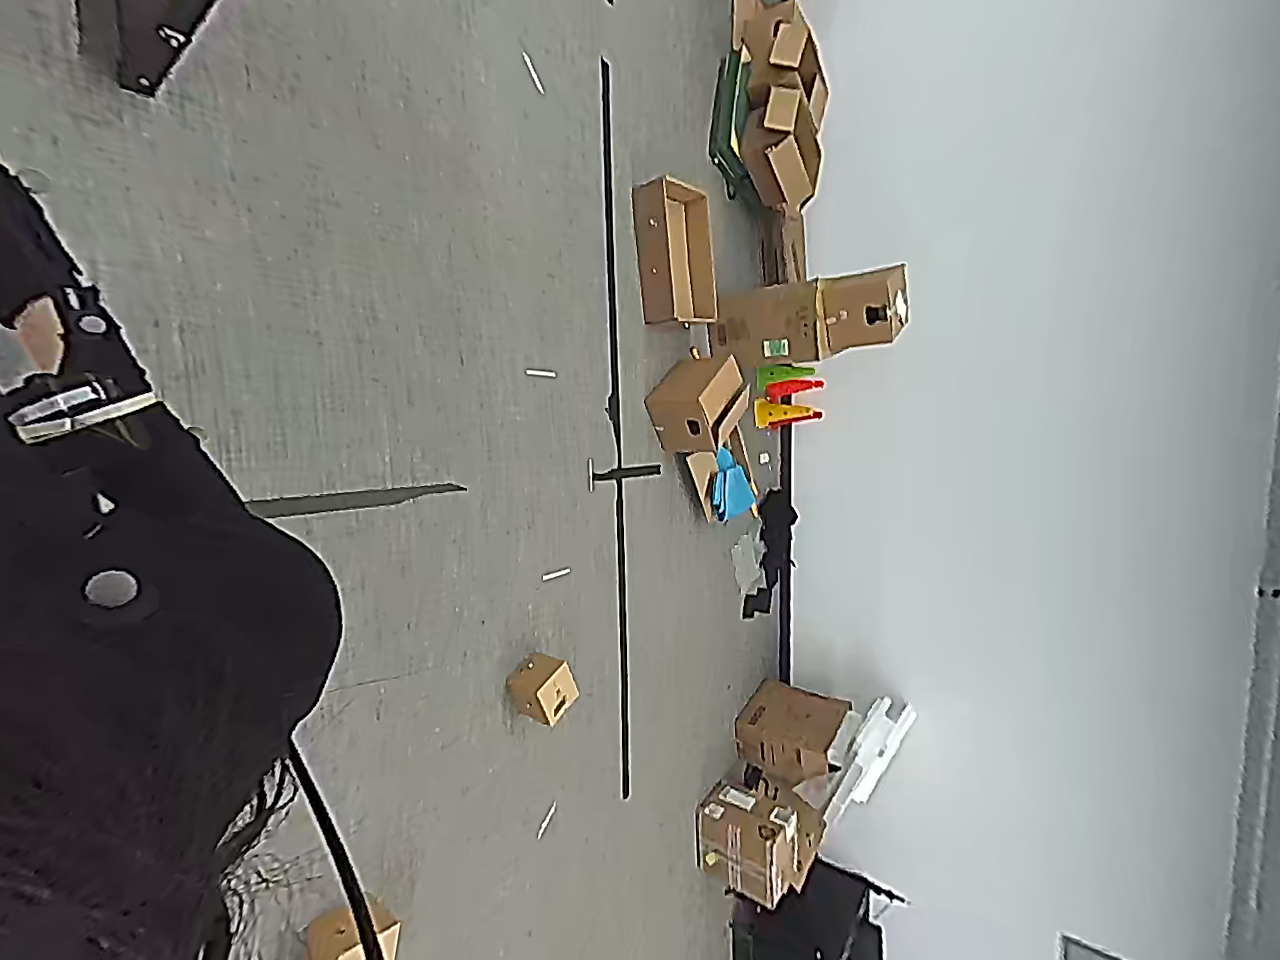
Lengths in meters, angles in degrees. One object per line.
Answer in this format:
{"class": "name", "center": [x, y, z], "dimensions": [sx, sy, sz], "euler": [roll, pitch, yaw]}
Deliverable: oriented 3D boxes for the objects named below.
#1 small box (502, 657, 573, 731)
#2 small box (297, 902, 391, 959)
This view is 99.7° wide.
{"class": "small box", "center": [-0.385, 0.793, 2.025], "dimensions": [0.168, 0.176, 0.179], "euler": [-40, 123, -45]}
{"class": "small box", "center": [-0.819, 1.314, 1.476], "dimensions": [0.179, 0.176, 0.168], "euler": [14, 83, -54]}
